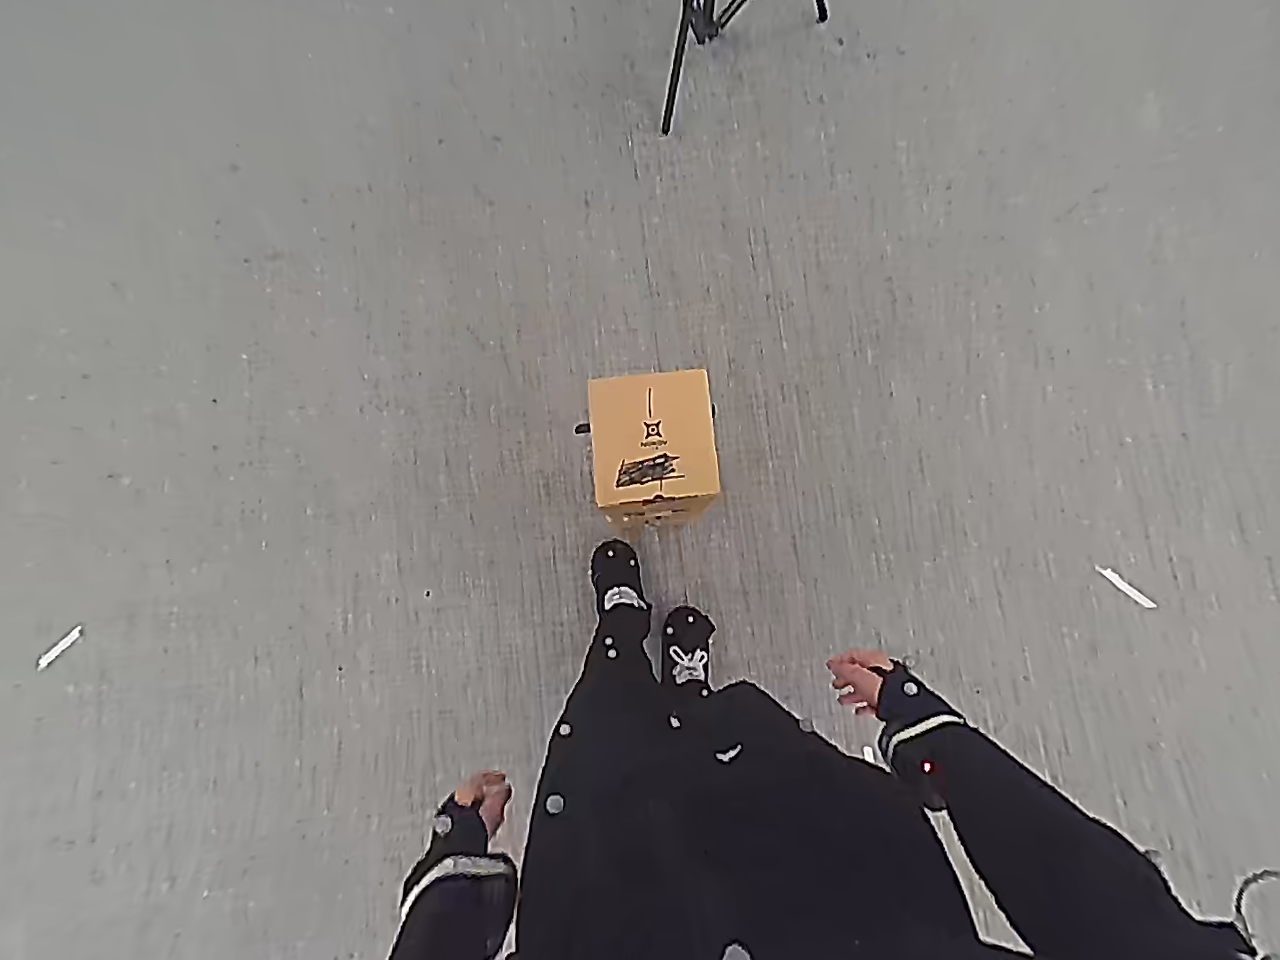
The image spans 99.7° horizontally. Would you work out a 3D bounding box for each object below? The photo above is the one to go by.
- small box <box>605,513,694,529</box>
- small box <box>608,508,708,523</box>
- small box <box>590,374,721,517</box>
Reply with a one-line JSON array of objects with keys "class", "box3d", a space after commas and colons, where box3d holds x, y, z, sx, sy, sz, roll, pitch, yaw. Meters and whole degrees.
[{"class": "small box", "box3d": [0.020, 0.012, 1.118, 0.179, 0.176, 0.168, -3, 83, 0]}, {"class": "small box", "box3d": [0.027, -0.014, 0.956, 0.168, 0.176, 0.179, -4, 83, 0]}, {"class": "small box", "box3d": [0.022, -0.039, 0.793, 0.168, 0.176, 0.179, -5, 81, 0]}]
